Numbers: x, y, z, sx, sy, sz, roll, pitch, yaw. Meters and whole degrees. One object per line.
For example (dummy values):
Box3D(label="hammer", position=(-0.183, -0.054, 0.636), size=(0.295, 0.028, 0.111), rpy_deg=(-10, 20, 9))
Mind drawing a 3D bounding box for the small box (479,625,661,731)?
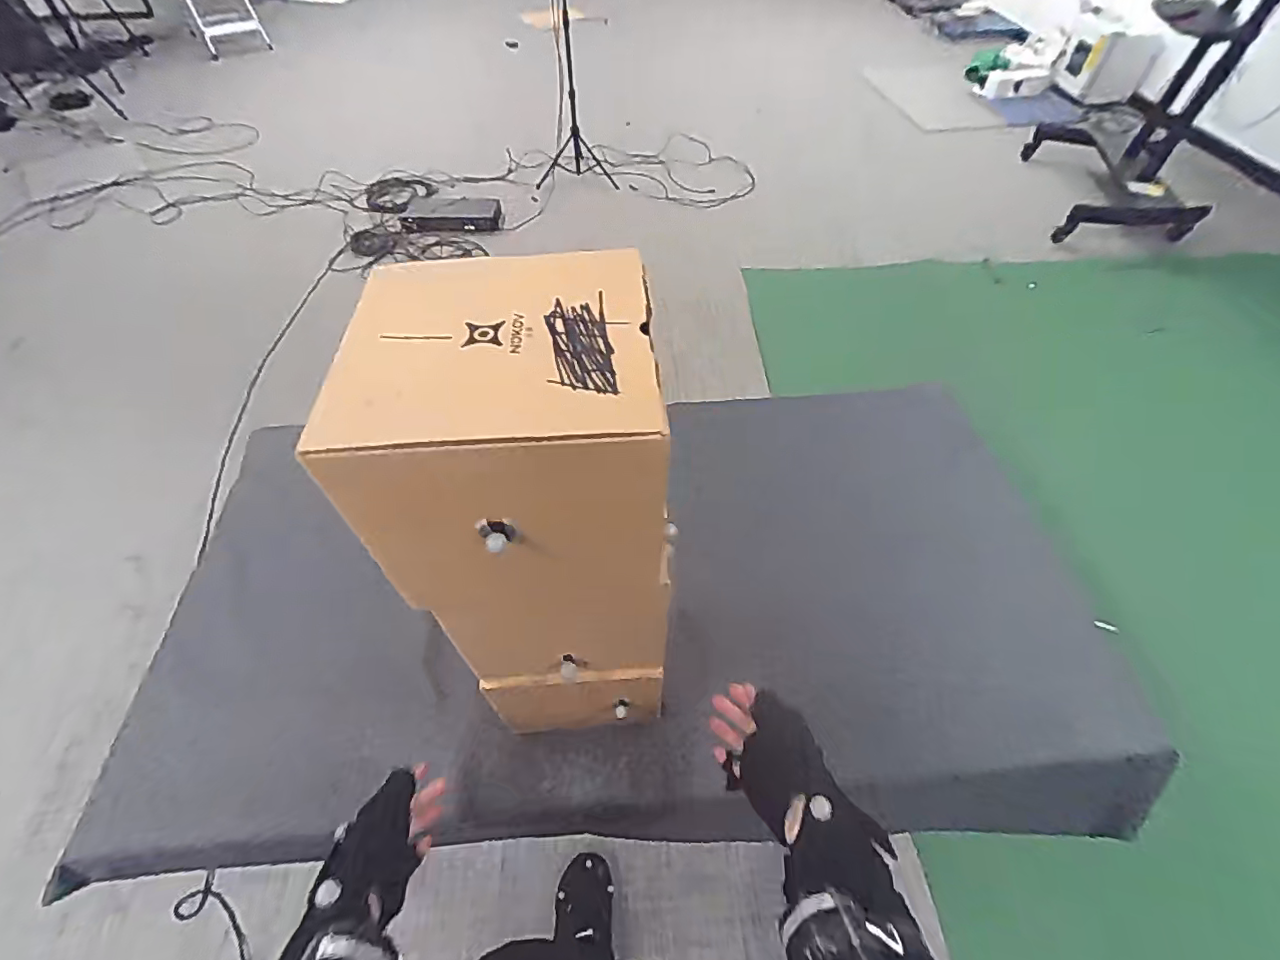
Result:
Box3D(label="small box", position=(-0.072, 0.177, 0.627), size=(0.179, 0.176, 0.168), rpy_deg=(-5, 51, -2))

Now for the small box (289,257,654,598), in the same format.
Box3D(label="small box", position=(-0.083, -0.030, 0.370), size=(0.179, 0.176, 0.168), rpy_deg=(-1, 50, -1))

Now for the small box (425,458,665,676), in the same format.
Box3D(label="small box", position=(-0.075, 0.070, 0.504), size=(0.179, 0.176, 0.168), rpy_deg=(-3, 51, -3))
